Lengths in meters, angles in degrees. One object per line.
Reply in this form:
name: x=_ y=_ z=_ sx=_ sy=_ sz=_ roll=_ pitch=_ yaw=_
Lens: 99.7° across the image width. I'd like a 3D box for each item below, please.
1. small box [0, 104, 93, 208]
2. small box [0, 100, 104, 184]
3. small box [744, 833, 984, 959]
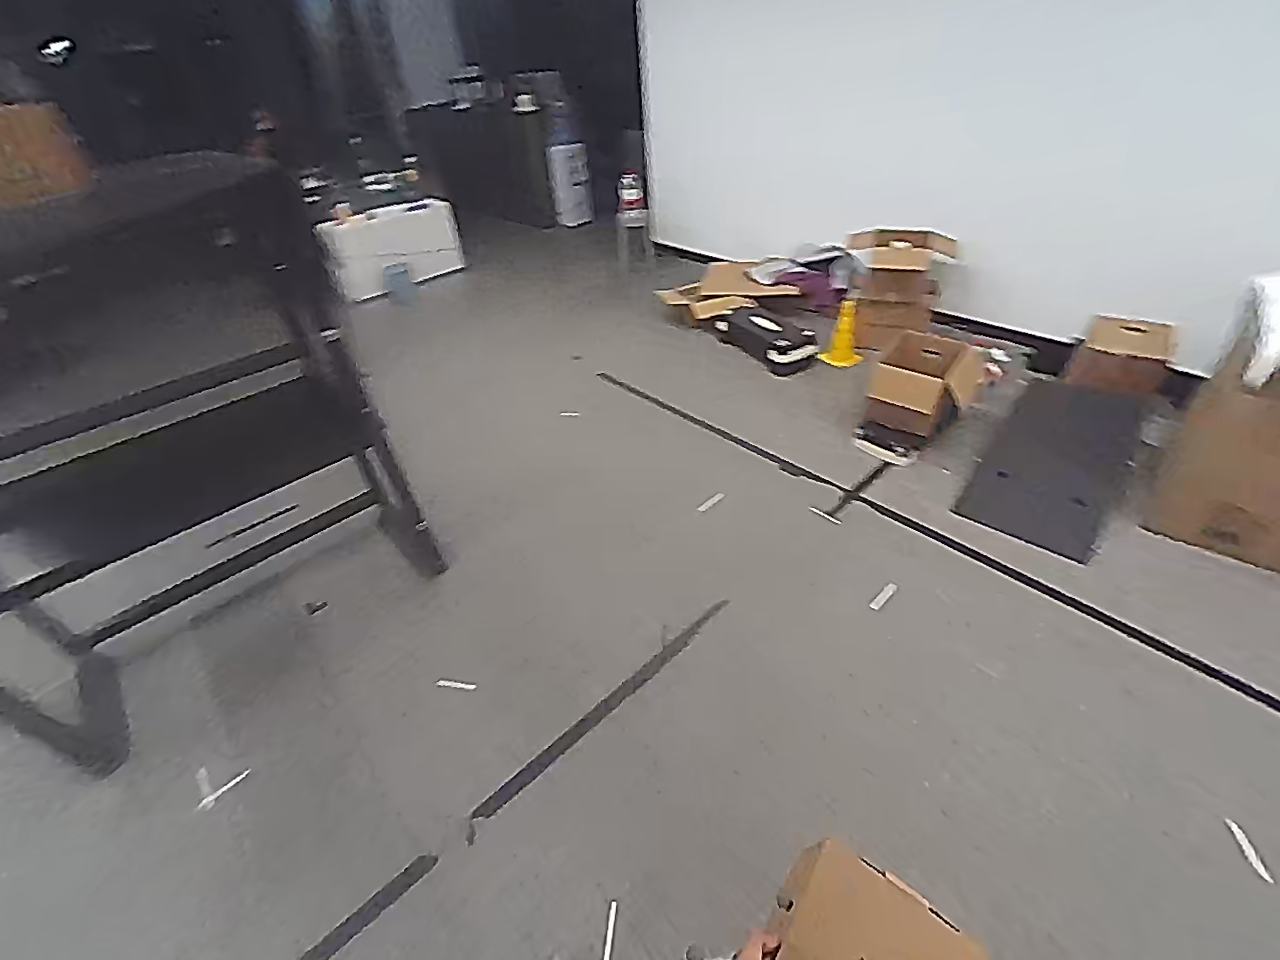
small box: x=-1.335 y=-0.691 z=1.153 sx=0.179 sy=0.176 sz=0.168 roll=26 pitch=49 yaw=32
small box: x=-1.448 y=-0.805 z=1.303 sx=0.179 sy=0.176 sz=0.168 roll=-30 pitch=45 yaw=-28
small box: x=0.211 y=0.512 z=0.558 sx=0.168 sy=0.176 sz=0.179 roll=28 pitch=57 yaw=24
